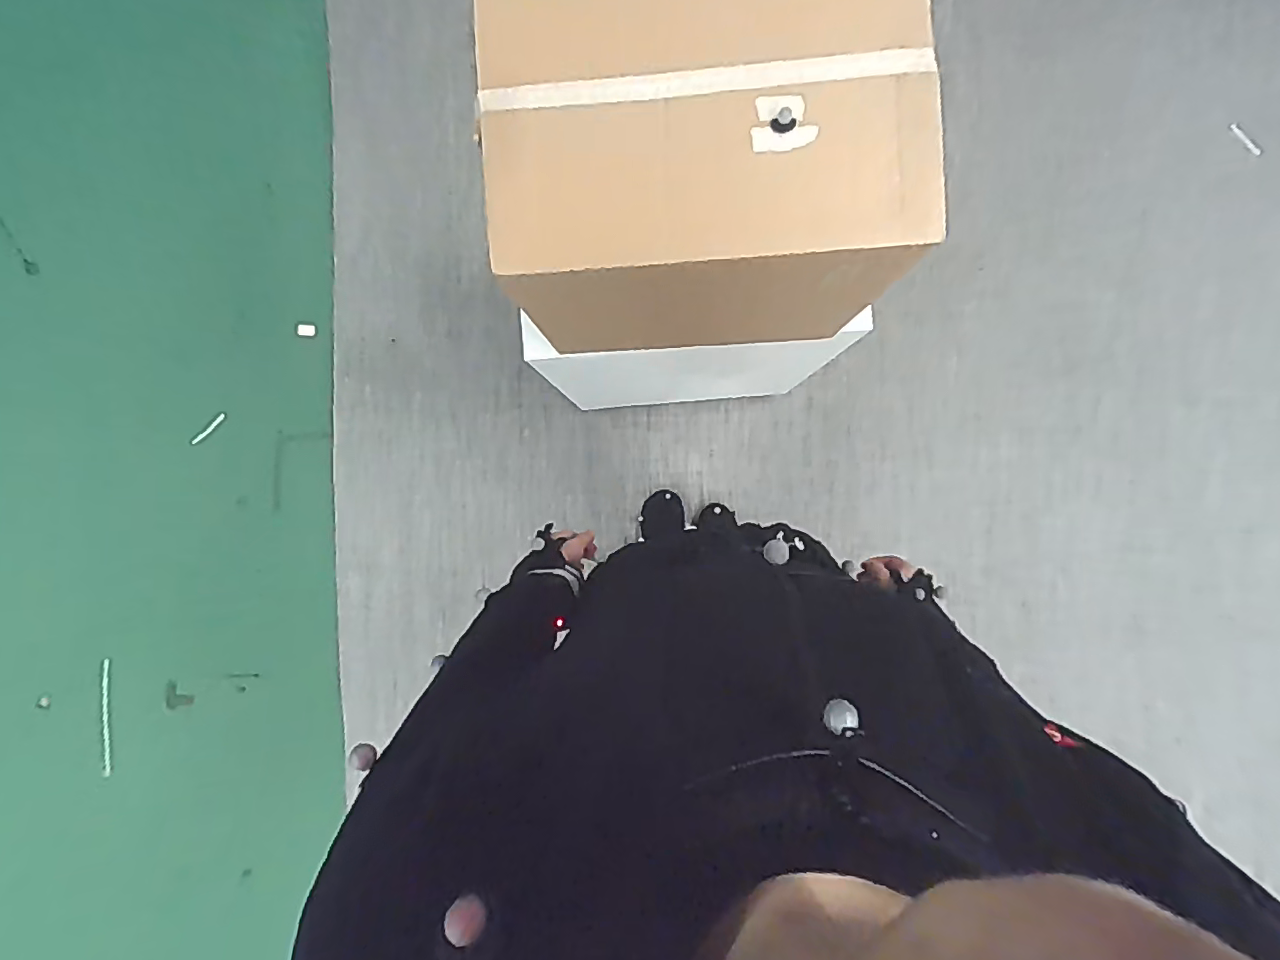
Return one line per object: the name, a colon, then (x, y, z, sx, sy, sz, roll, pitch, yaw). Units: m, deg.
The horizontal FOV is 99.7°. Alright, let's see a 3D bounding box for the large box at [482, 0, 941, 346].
large box: (0.062, -0.360, 0.635, 0.408, 0.320, 0.320, -4, 90, 1)
